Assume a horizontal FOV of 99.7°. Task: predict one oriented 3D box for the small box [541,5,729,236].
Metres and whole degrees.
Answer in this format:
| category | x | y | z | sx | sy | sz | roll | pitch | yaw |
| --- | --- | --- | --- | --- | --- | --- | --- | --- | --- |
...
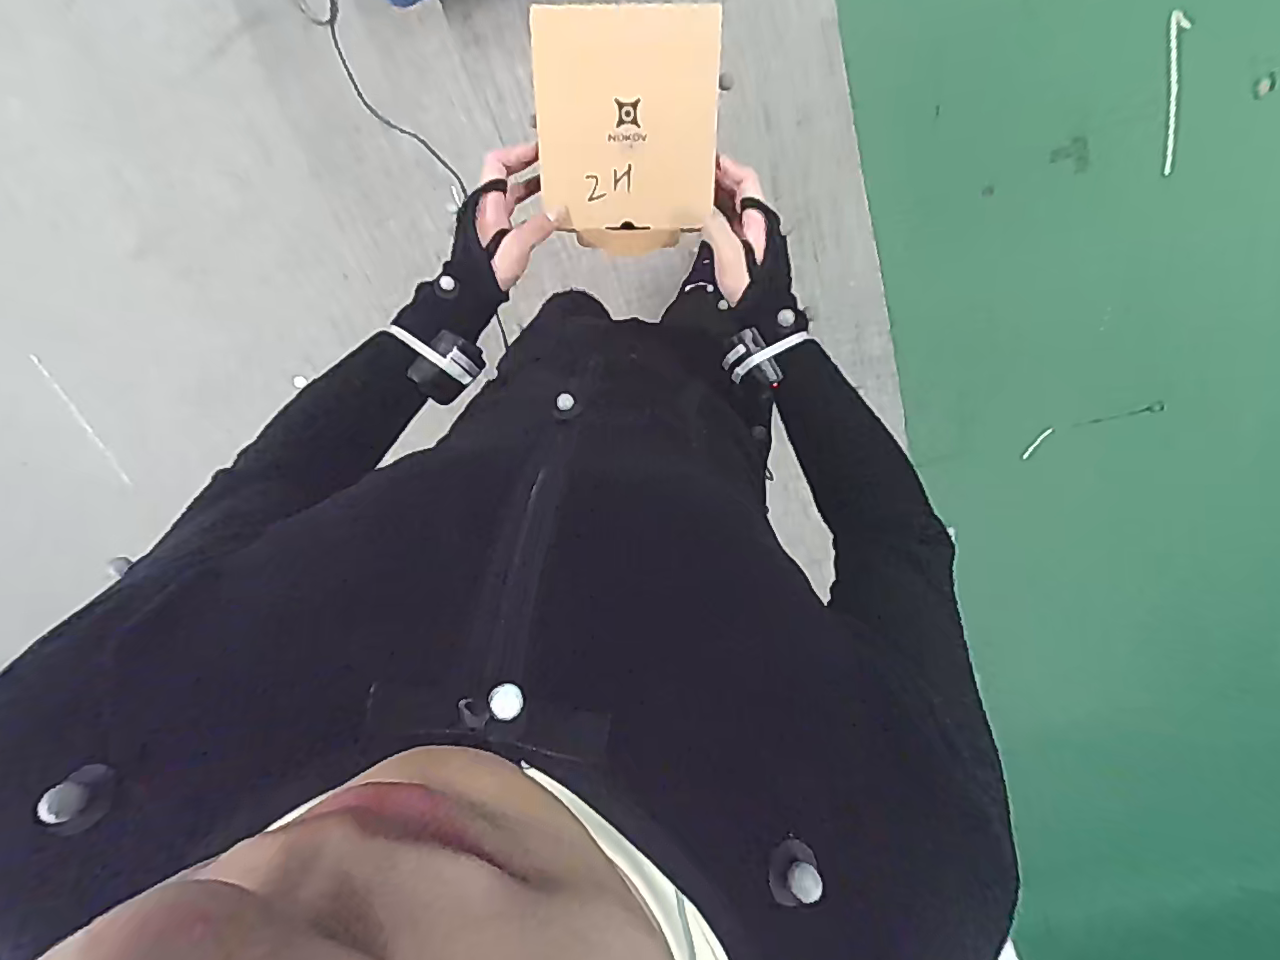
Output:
| category | x | y | z | sx | sy | sz | roll | pitch | yaw |
| --- | --- | --- | --- | --- | --- | --- | --- | --- | --- |
| small box | -0.004 | -0.355 | 0.567 | 0.168 | 0.176 | 0.179 | 1 | 114 | 2 |
